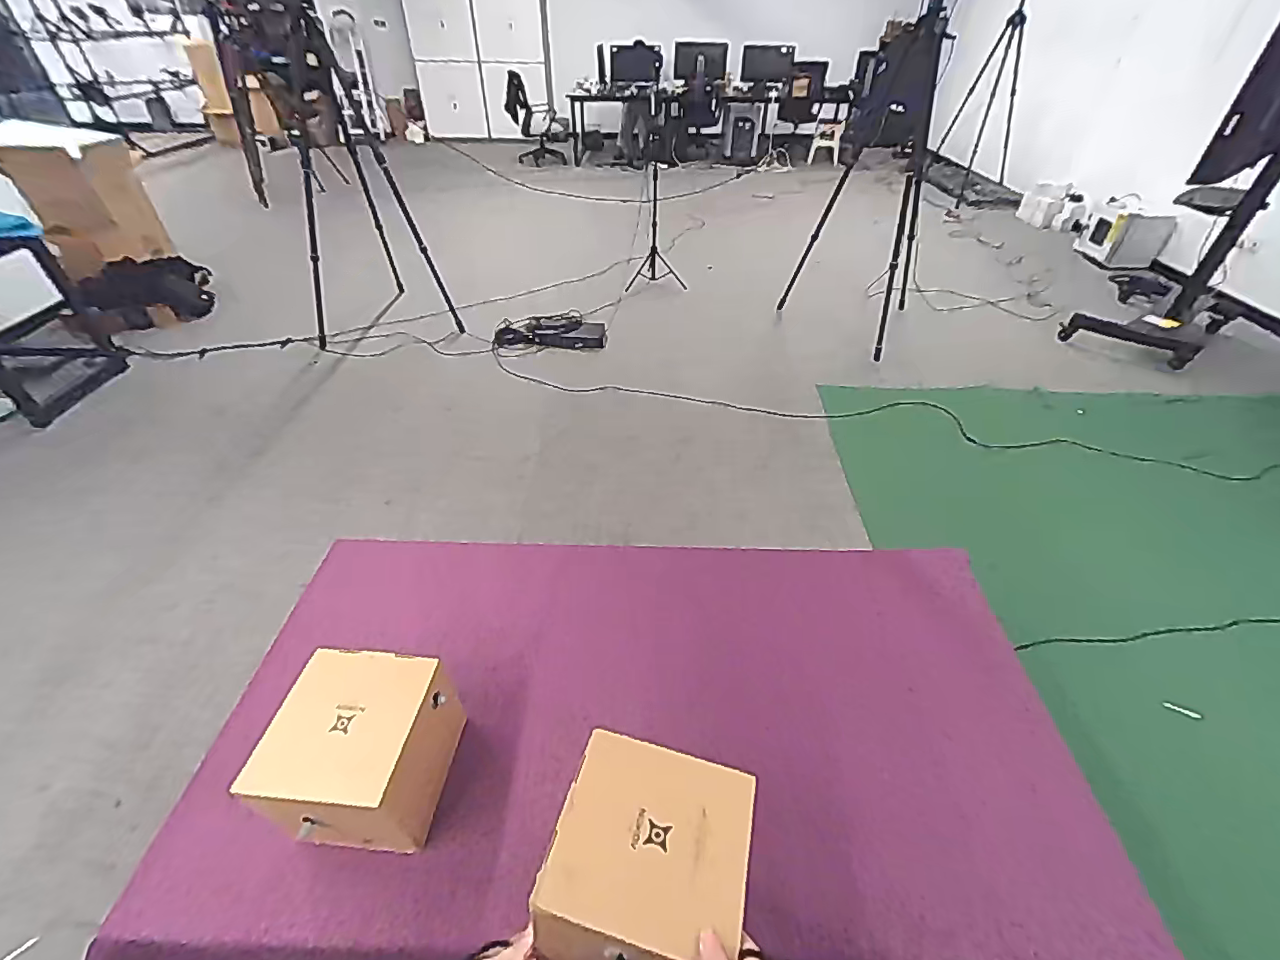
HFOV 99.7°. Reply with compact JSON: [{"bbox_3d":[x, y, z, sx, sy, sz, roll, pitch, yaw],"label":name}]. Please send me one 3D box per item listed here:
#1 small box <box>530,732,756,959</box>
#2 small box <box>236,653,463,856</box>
[{"bbox_3d":[0.007,0.394,0.540,0.179,0.176,0.168,12,34,12],"label":"small box"},{"bbox_3d":[-0.341,0.345,0.682,0.168,0.176,0.179,3,39,4],"label":"small box"}]
